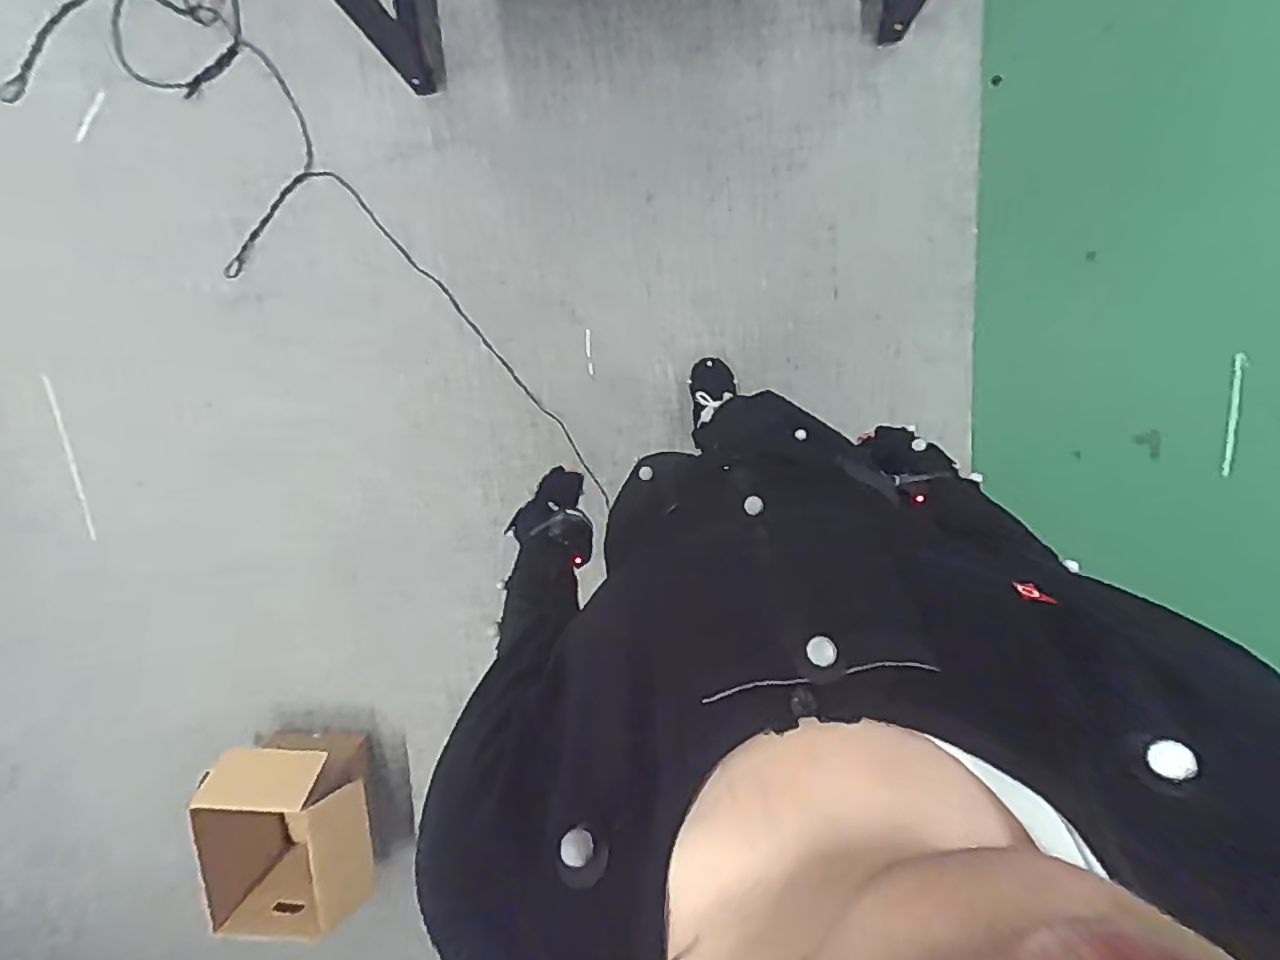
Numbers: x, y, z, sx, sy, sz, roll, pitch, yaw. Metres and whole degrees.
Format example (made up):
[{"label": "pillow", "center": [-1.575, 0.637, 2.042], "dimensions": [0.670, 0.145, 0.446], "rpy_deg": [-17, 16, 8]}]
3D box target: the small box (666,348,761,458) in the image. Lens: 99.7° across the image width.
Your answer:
[{"label": "small box", "center": [0.187, -0.190, 1.364], "dimensions": [0.168, 0.176, 0.179], "rpy_deg": [35, 76, 25]}]
